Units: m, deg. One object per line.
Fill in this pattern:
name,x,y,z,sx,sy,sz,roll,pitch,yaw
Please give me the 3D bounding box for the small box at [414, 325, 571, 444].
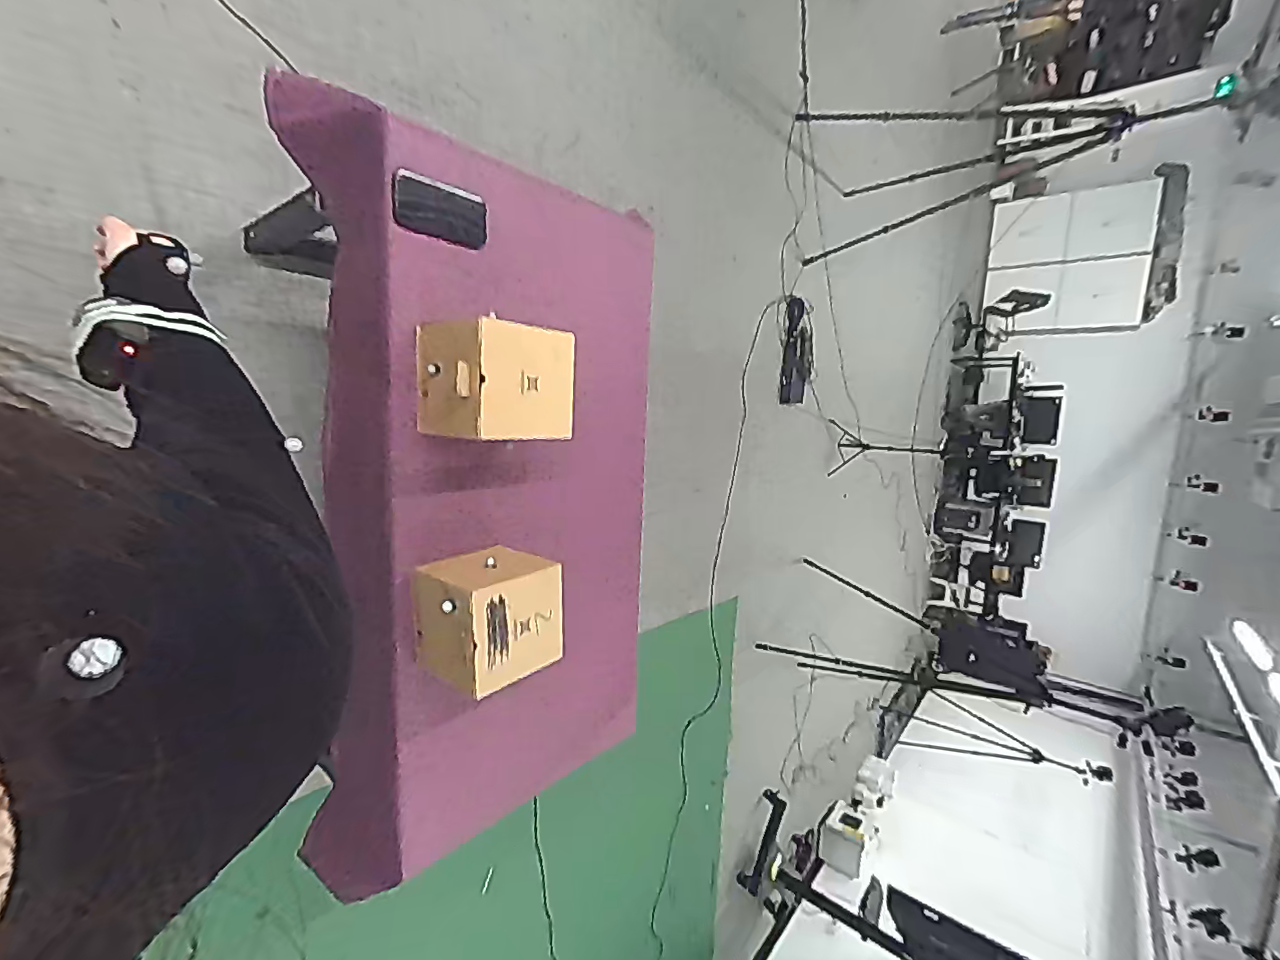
small box,-0.233,-0.147,0.856,0.179,0.176,0.168,-6,102,-50
